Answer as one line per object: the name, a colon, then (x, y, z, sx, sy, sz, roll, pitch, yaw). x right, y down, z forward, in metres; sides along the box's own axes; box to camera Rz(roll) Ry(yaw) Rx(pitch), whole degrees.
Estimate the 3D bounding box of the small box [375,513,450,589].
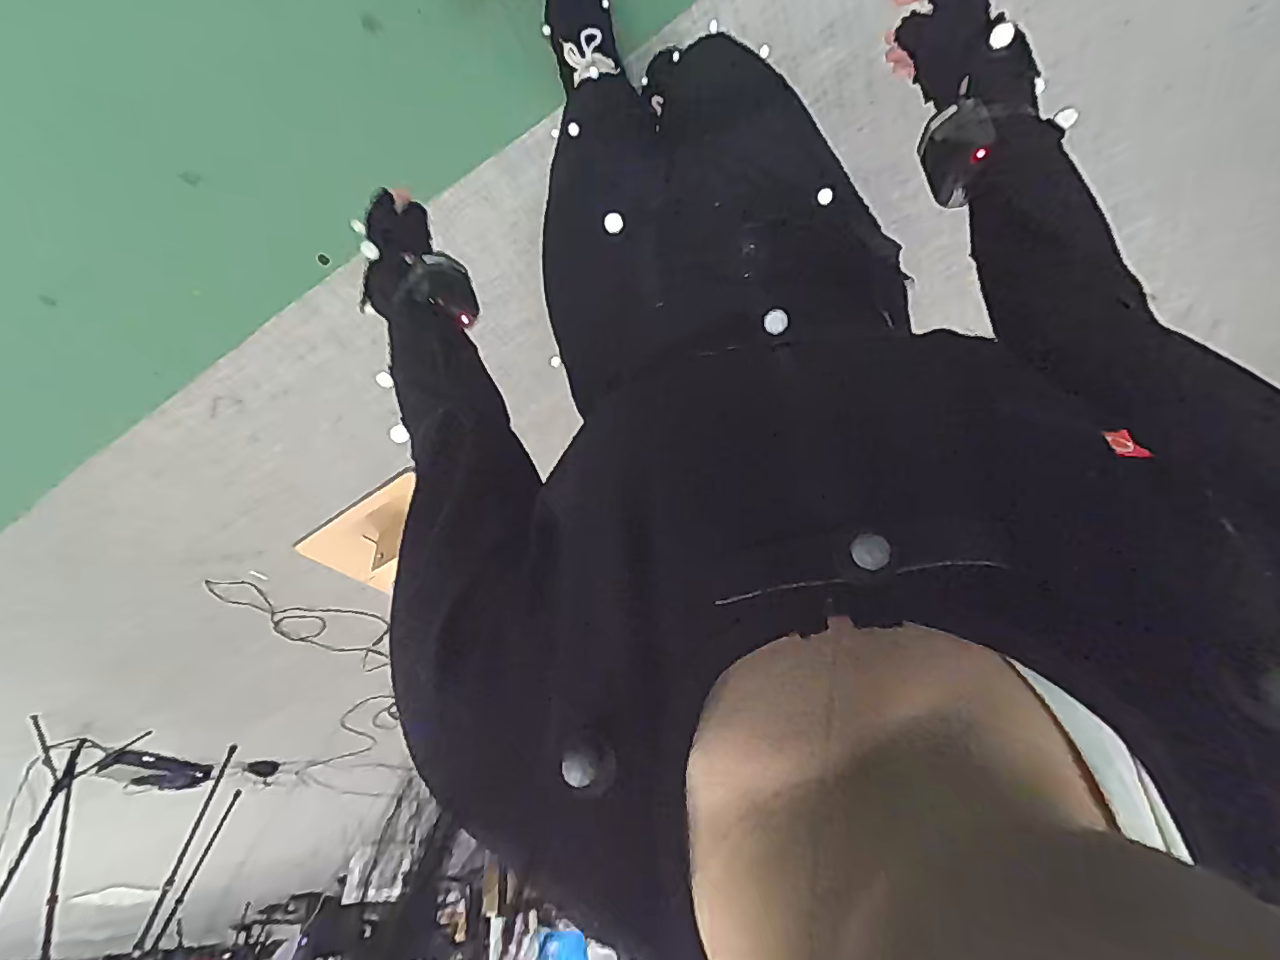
small box: (-0.783, 0.246, 1.884, 0.179, 0.176, 0.168, -29, 135, 18)
